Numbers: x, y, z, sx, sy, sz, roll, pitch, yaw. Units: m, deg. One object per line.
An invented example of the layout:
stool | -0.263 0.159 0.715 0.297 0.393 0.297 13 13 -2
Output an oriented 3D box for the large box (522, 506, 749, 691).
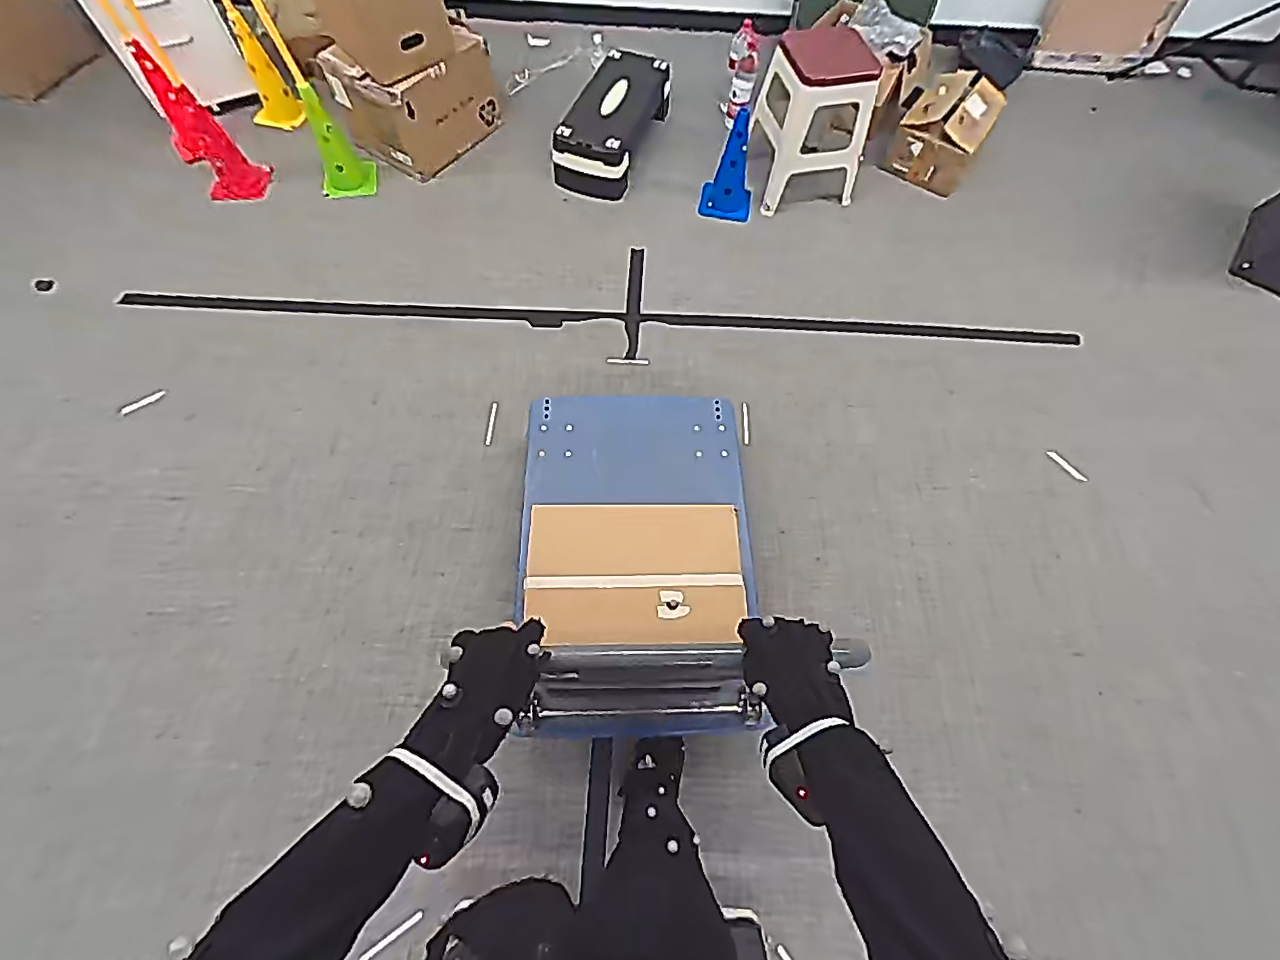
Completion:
large box | -0.020 0.257 1.130 0.408 0.320 0.320 0 64 -3
